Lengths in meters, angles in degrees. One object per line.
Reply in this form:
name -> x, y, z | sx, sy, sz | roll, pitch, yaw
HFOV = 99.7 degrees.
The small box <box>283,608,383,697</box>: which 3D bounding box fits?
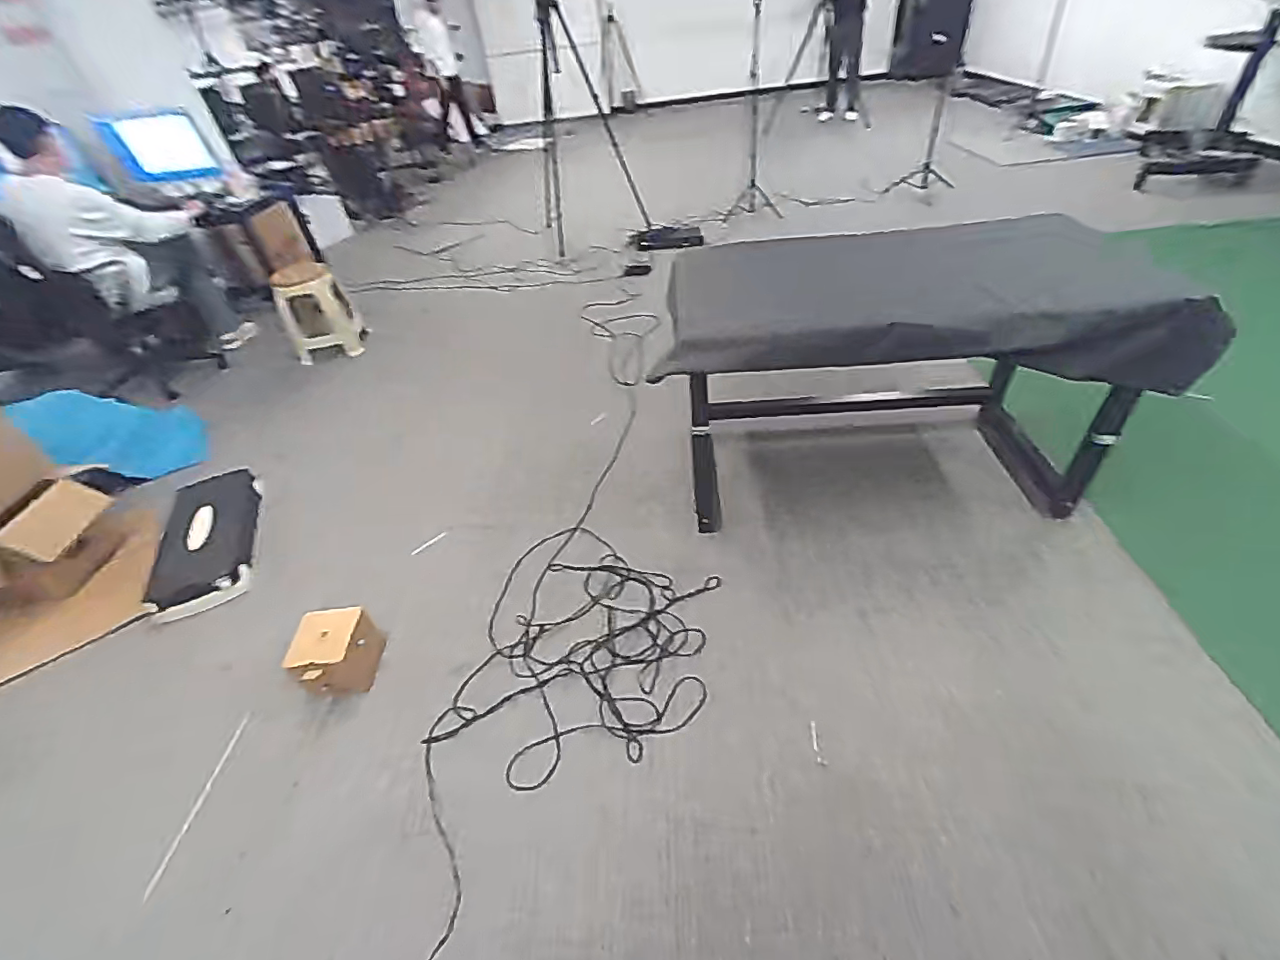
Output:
small box -> -0.851, 0.486, 1.526 | 0.168, 0.176, 0.179 | -6, 42, 1
